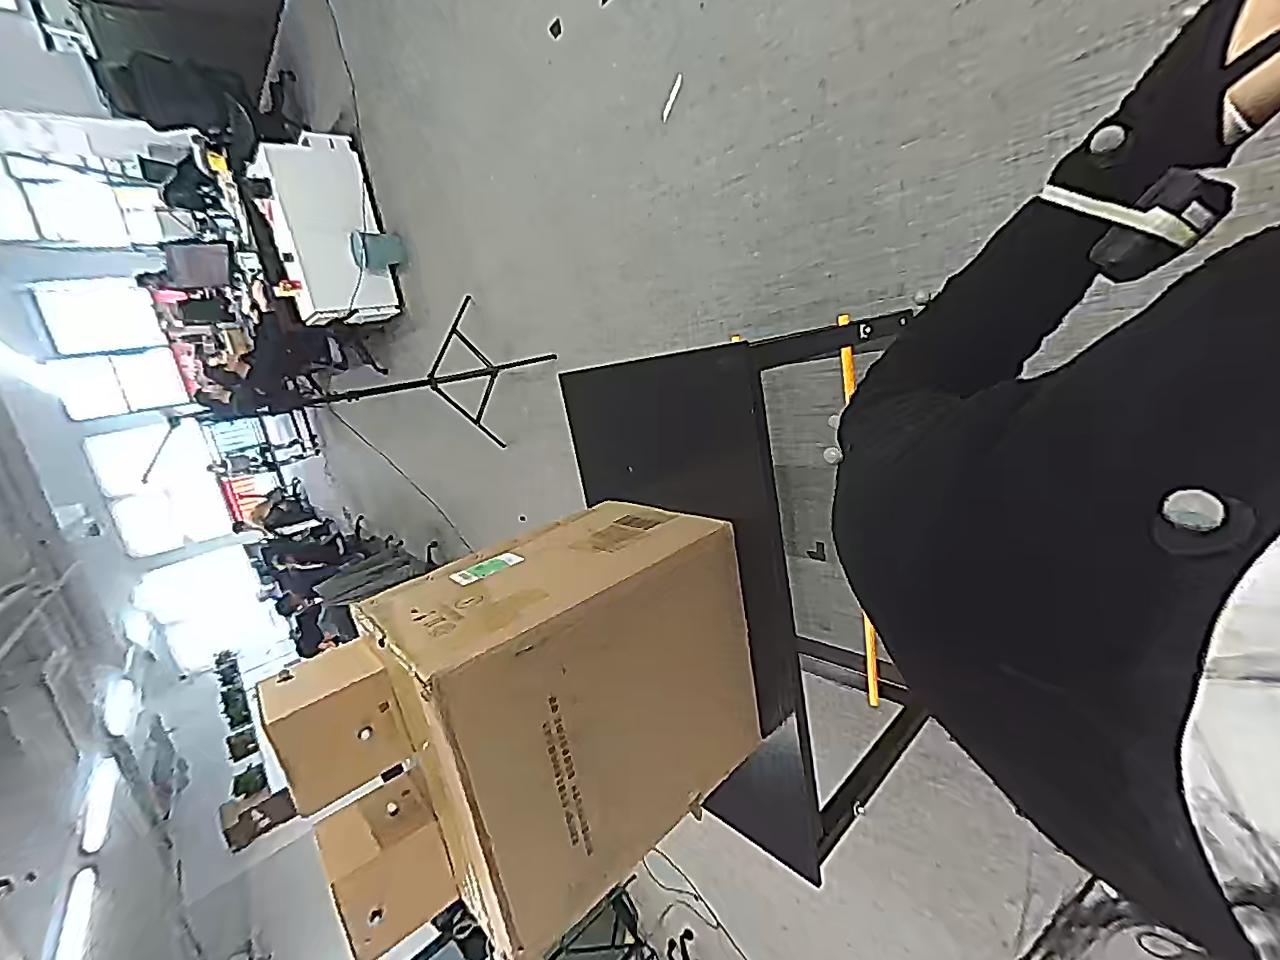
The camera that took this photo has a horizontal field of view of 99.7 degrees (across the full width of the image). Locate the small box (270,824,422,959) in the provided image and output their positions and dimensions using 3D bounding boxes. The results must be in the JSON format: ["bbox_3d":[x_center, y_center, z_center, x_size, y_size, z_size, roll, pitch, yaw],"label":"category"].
[{"bbox_3d":[-0.475,0.723,0.884,0.168,0.176,0.179,7,111,50],"label":"small box"}]

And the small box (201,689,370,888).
[{"bbox_3d":[-0.535,0.449,0.826,0.179,0.176,0.168,5,112,51],"label":"small box"}]
